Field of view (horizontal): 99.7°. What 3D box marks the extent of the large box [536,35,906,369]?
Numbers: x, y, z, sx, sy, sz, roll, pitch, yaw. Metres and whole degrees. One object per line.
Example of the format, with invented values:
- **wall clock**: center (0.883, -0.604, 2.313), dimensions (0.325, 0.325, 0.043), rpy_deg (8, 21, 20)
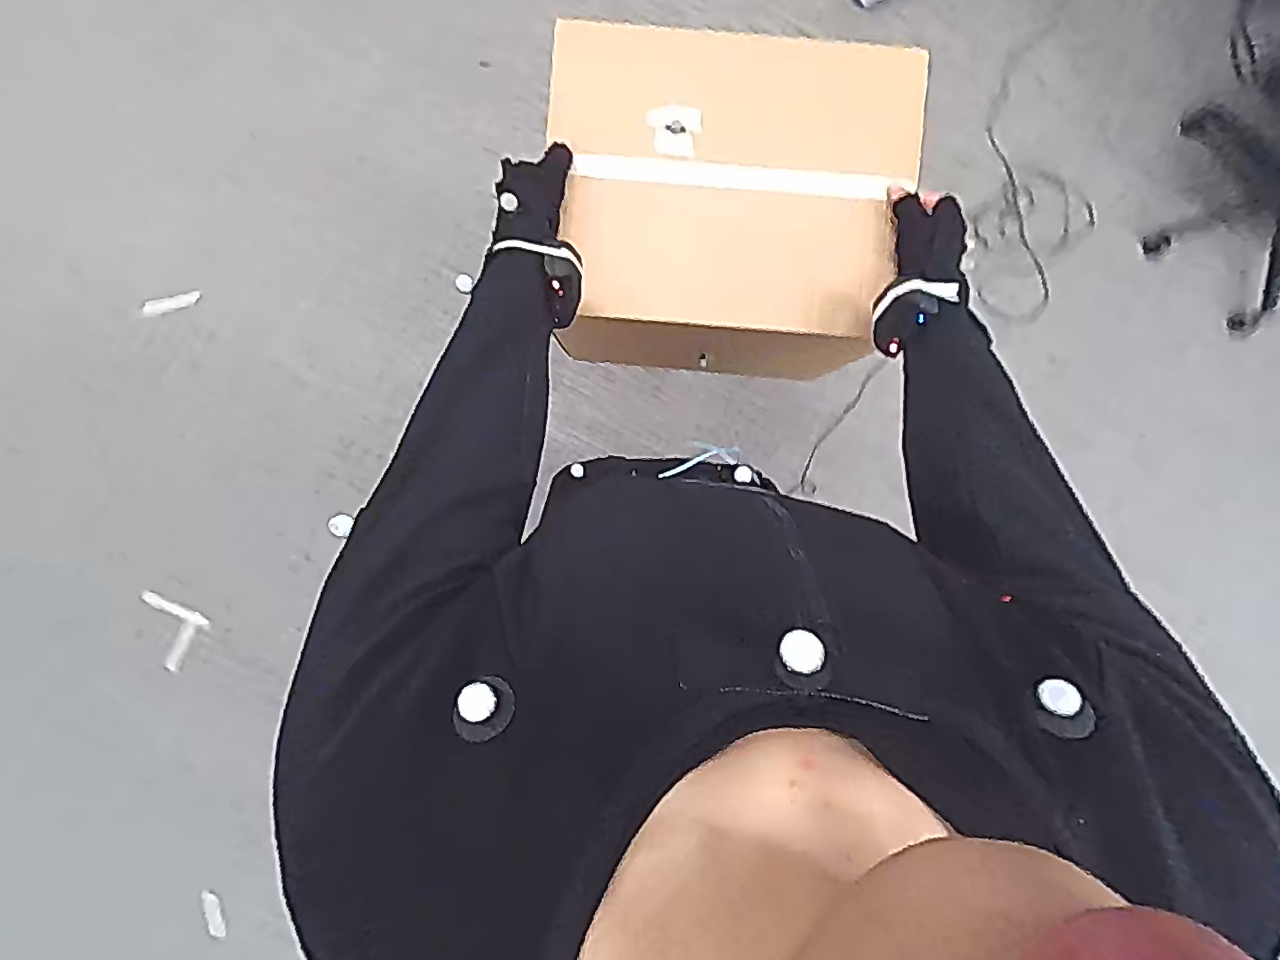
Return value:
- **large box**: center (0.091, -0.335, 0.747), dimensions (0.408, 0.320, 0.320), rpy_deg (3, 92, 0)
